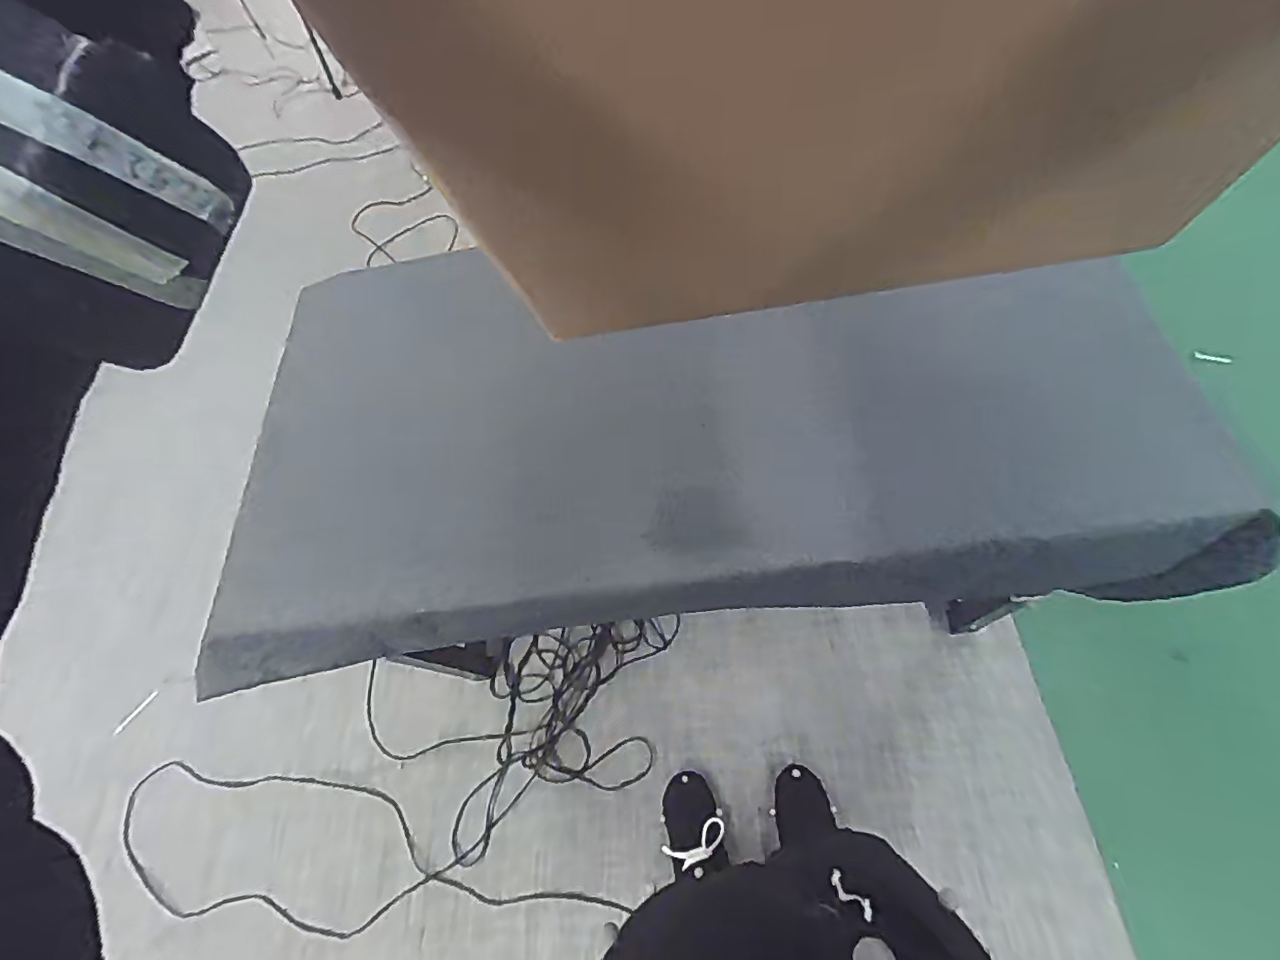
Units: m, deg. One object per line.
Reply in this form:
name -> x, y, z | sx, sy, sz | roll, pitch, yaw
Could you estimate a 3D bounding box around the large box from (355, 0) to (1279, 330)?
large box -> 0.098, -0.311, 0.272 | 0.408, 0.320, 0.320 | -6, 76, 10
